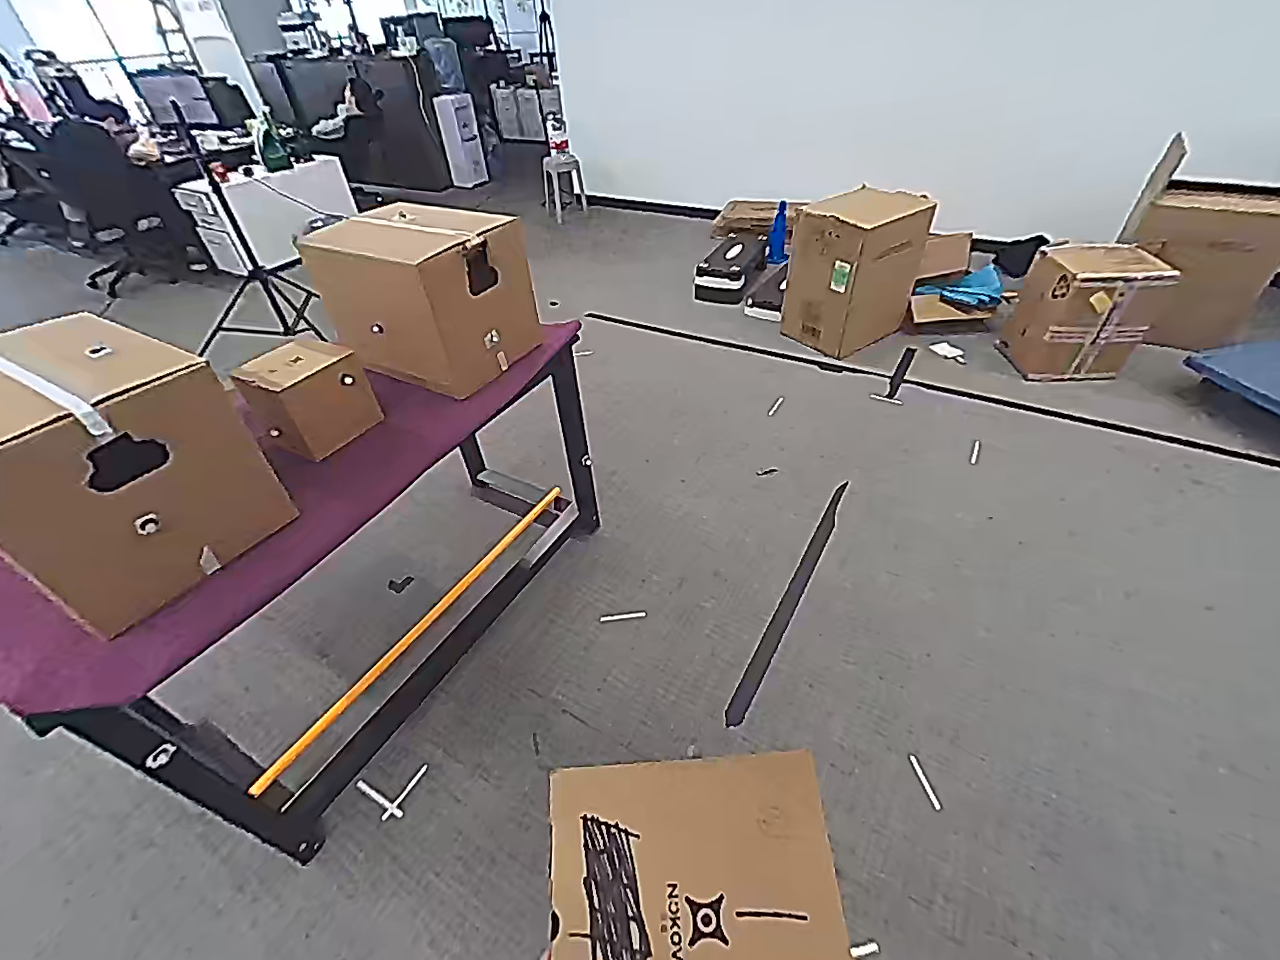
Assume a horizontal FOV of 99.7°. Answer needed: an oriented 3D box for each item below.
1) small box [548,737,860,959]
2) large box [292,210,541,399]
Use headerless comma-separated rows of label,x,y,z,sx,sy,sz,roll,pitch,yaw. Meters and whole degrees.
small box,0.042,0.286,0.381,0.179,0.176,0.168,-6,58,4
large box,-0.509,-0.431,1.300,0.408,0.320,0.320,18,45,25
